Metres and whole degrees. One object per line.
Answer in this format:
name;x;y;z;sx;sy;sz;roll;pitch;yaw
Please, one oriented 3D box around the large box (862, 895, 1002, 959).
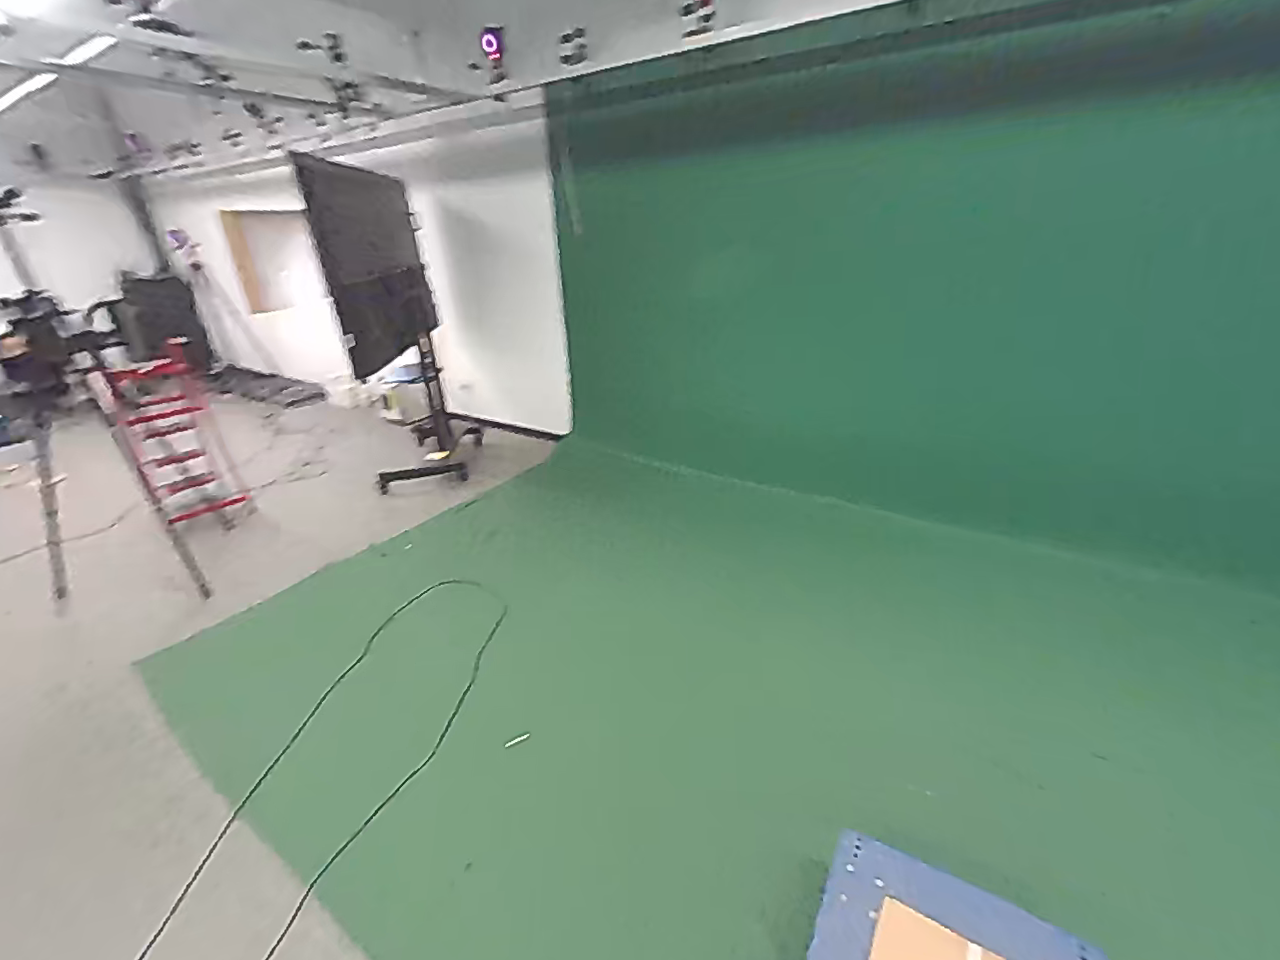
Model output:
large box;0.503;1.060;0.909;0.320;0.320;0.408;14;29;32
